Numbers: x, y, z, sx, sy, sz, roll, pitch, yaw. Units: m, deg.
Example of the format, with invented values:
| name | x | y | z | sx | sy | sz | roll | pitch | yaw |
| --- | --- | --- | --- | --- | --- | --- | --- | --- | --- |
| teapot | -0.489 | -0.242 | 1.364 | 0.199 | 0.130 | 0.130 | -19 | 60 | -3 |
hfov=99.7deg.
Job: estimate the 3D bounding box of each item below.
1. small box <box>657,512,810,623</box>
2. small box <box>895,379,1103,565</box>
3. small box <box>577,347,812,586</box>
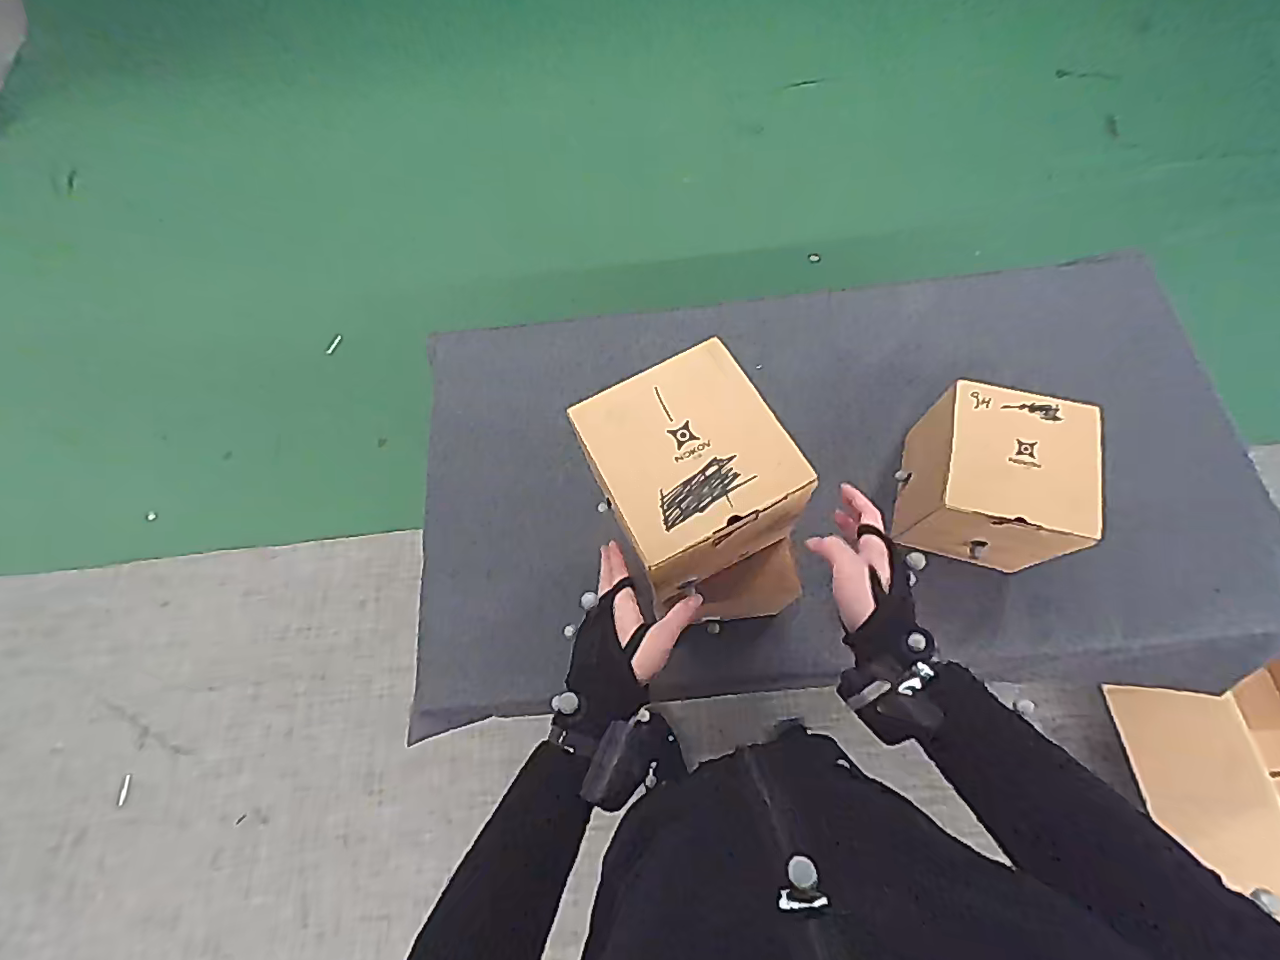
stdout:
| name | x | y | z | sx | sy | sz | roll | pitch | yaw |
| --- | --- | --- | --- | --- | --- | --- | --- | --- | --- |
| small box | 0.098 | 0.076 | 0.687 | 0.168 | 0.176 | 0.179 | -8 | 69 | 1 |
| small box | 0.455 | -0.001 | 0.710 | 0.168 | 0.176 | 0.179 | 15 | 72 | 10 |
| small box | 0.054 | -0.001 | 0.578 | 0.168 | 0.176 | 0.179 | -26 | 67 | -6 |
